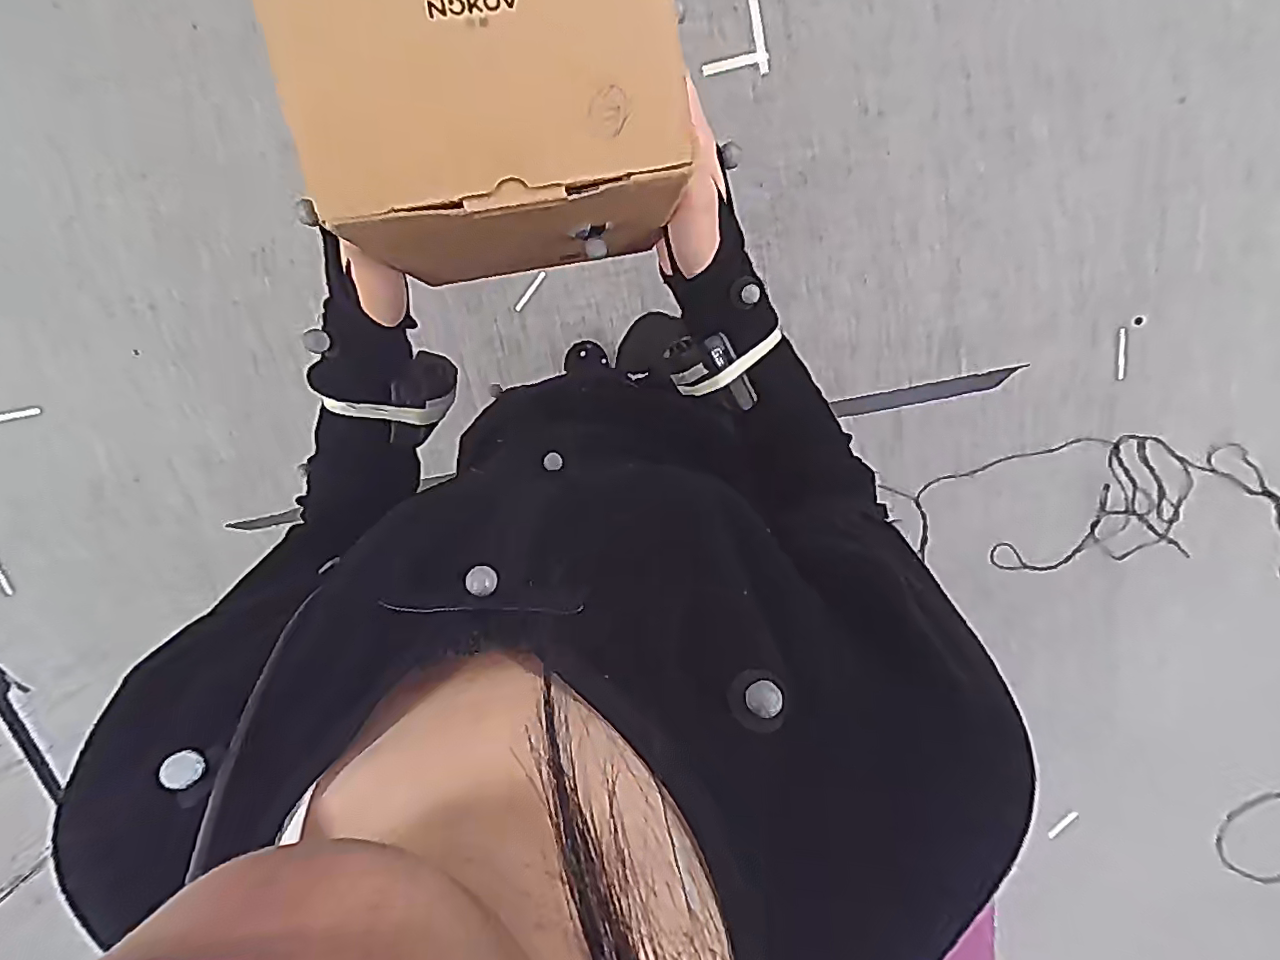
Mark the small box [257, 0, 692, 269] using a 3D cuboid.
[{"bbox_3d":[-0.078,-0.223,0.291,0.168,0.176,0.179,-12,102,-5],"label":"small box"}]
